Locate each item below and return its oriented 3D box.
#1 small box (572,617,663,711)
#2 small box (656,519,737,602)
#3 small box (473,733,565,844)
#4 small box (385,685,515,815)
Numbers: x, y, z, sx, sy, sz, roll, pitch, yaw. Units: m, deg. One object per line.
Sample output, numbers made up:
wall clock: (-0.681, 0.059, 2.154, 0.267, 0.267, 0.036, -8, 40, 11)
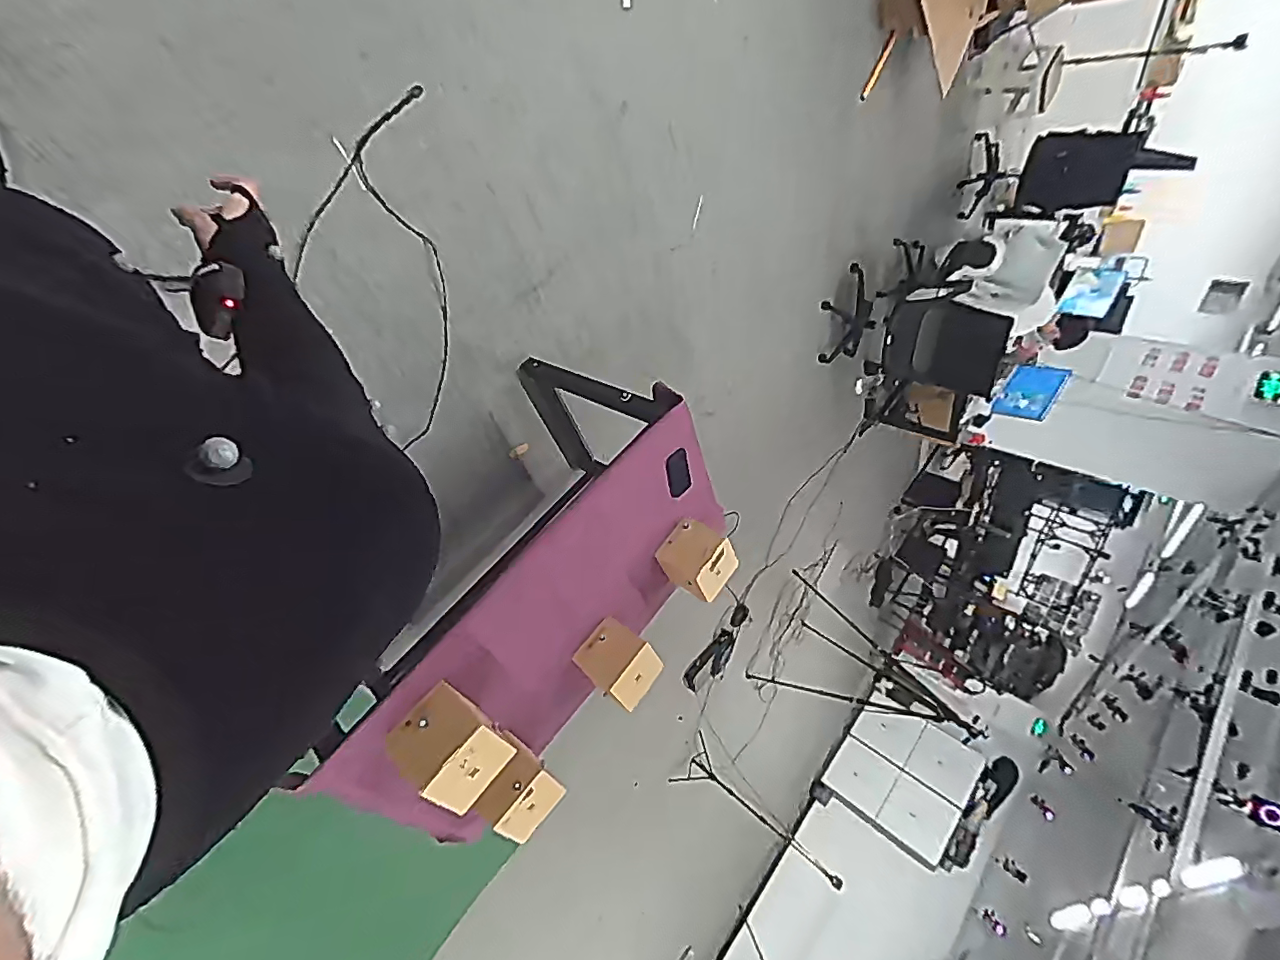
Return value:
small box: (-0.064, 0.527, 1.568, 0.168, 0.176, 0.179, -48, 139, -22)
small box: (0.173, 0.244, 1.687, 0.168, 0.176, 0.179, -50, 141, -18)
small box: (-0.329, 0.794, 1.402, 0.168, 0.176, 0.179, -46, 139, -24)
small box: (-0.412, 0.583, 1.179, 0.168, 0.176, 0.179, -47, 139, -24)
